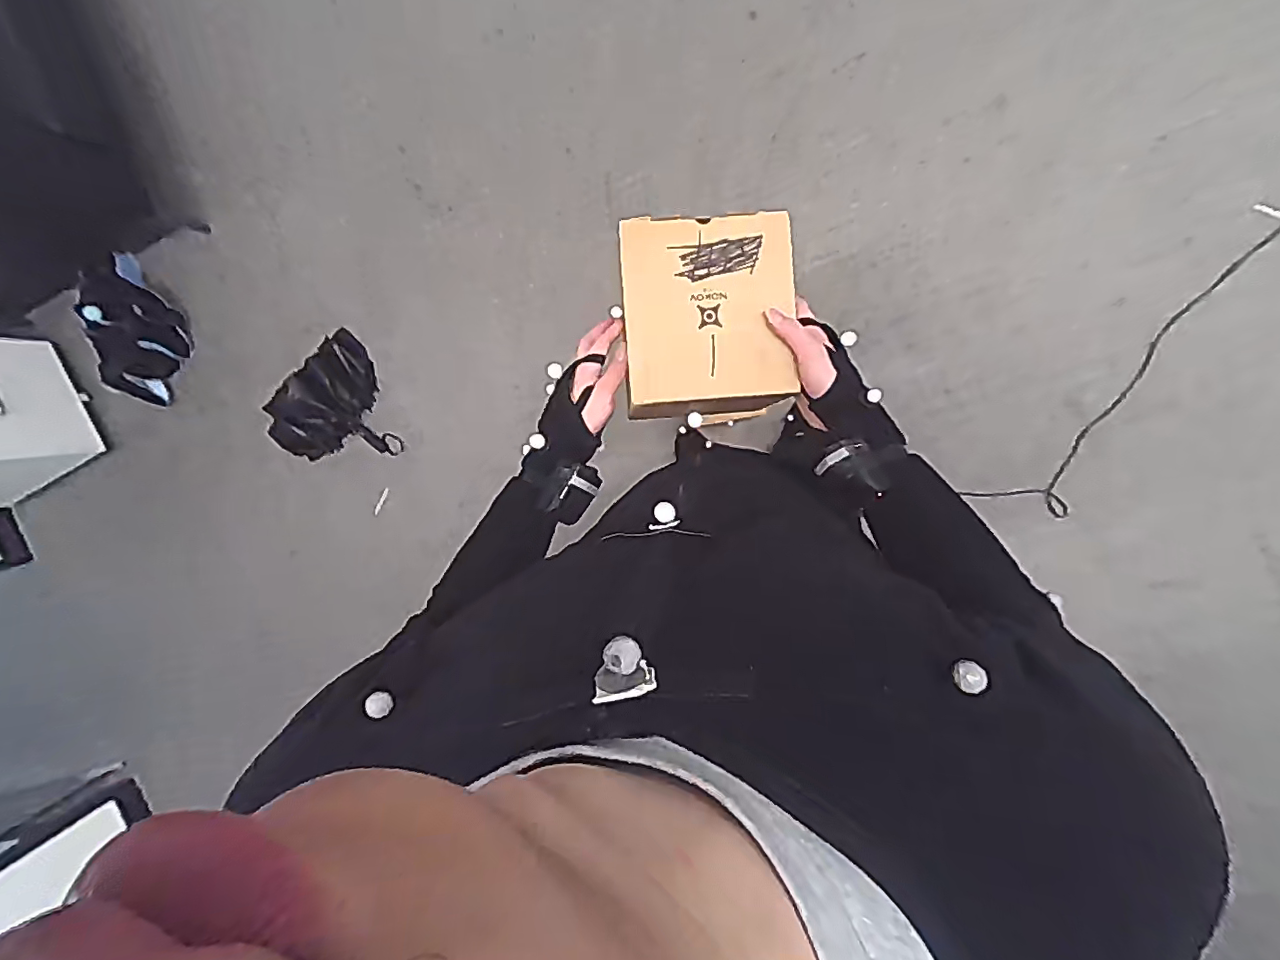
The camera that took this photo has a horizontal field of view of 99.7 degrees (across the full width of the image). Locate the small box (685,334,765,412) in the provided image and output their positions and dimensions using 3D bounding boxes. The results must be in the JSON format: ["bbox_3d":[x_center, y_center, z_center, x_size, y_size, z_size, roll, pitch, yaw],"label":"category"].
[{"bbox_3d":[0.224,-0.274,1.403,0.179,0.176,0.168,-10,100,11],"label":"small box"}]
